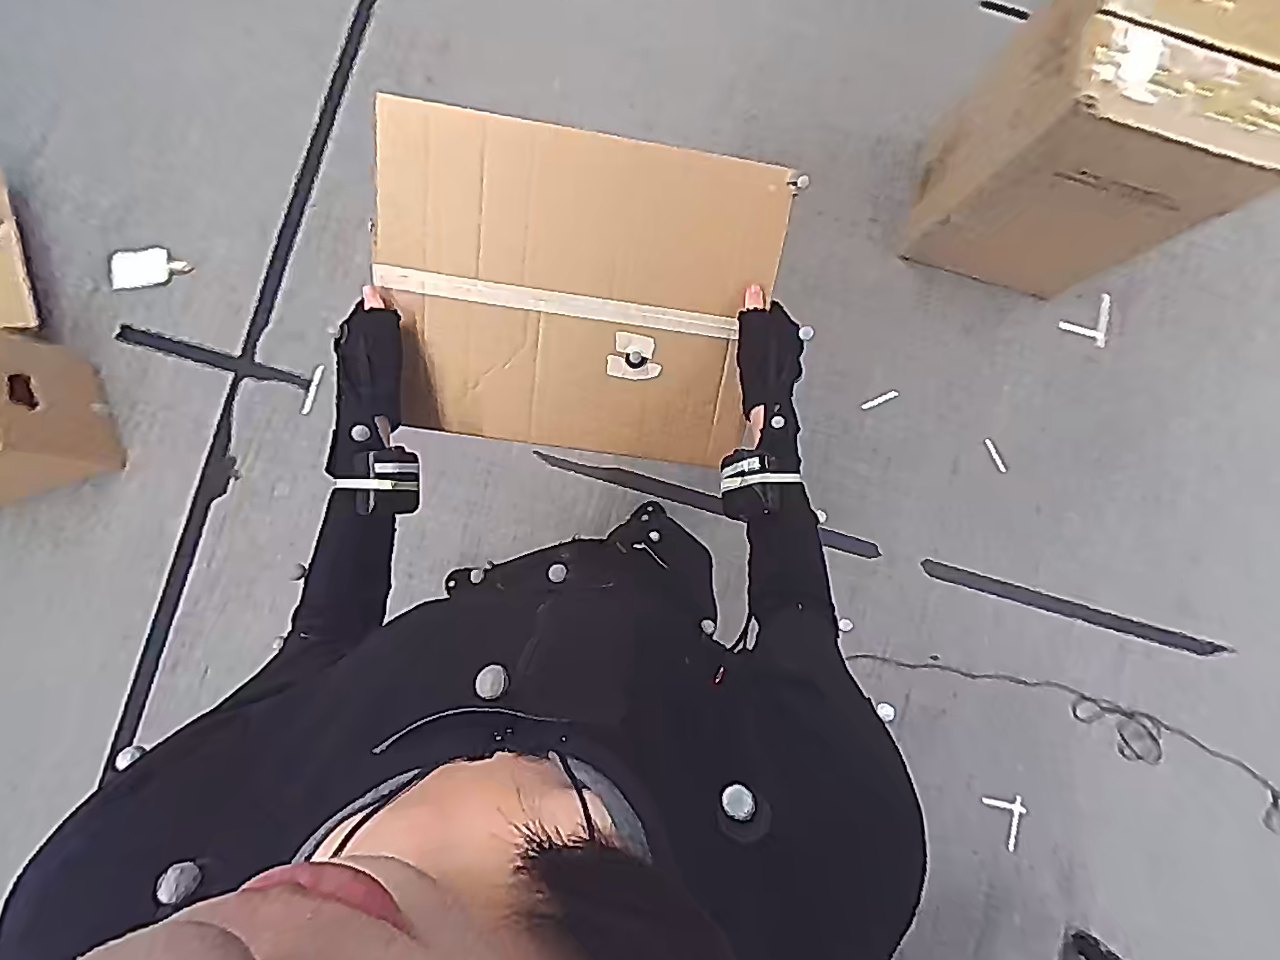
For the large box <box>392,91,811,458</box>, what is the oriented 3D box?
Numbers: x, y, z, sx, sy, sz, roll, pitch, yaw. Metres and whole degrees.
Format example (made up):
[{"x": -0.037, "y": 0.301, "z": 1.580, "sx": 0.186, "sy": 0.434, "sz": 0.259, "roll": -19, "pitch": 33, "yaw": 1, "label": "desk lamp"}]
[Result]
[{"x": -0.058, "y": -0.238, "z": 0.694, "sx": 0.408, "sy": 0.320, "sz": 0.320, "roll": 7, "pitch": 110, "yaw": -5, "label": "large box"}]
